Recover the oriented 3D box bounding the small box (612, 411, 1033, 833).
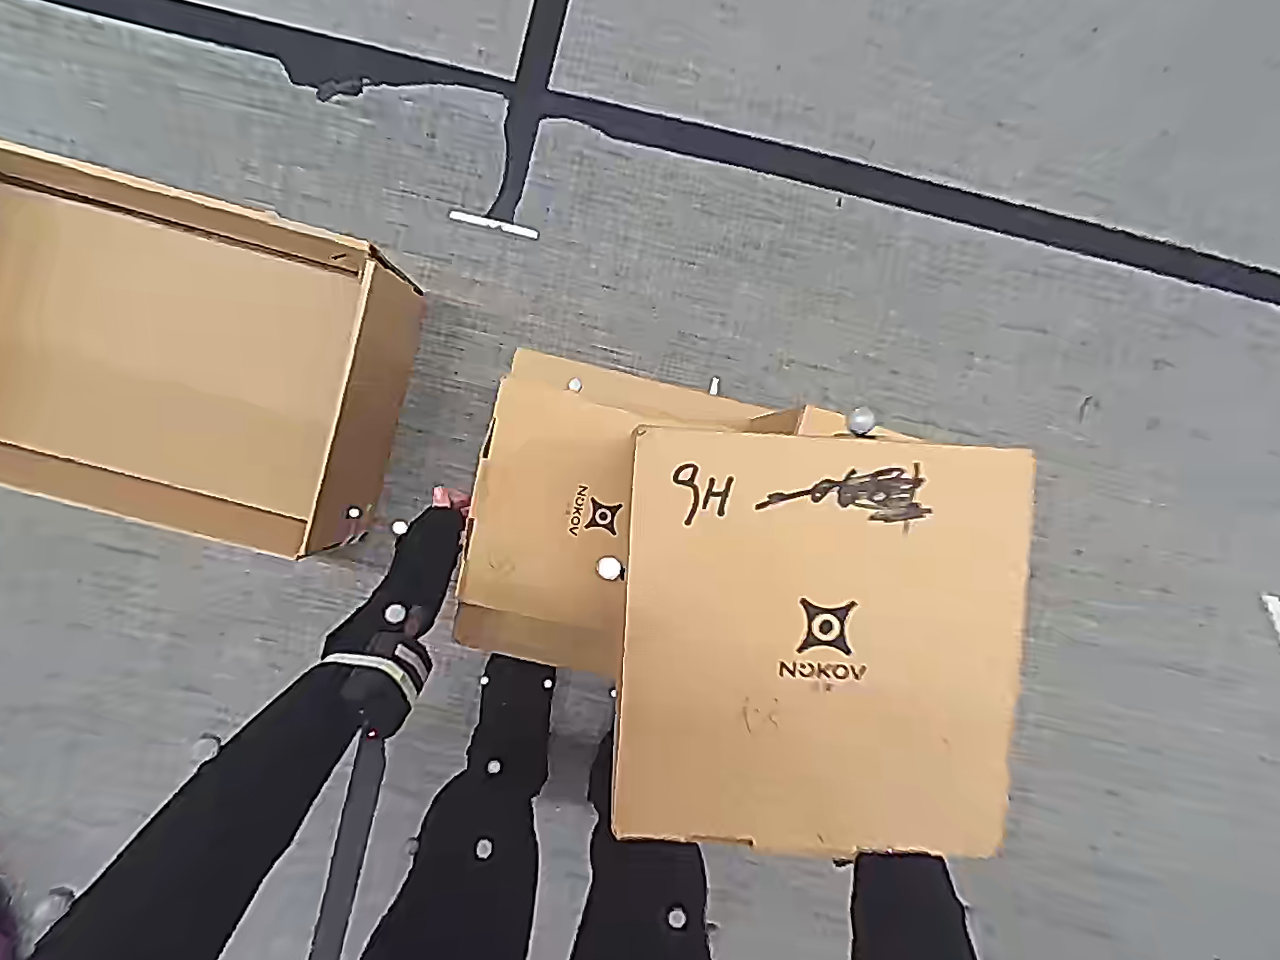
[{"bbox_3d":[0.075,0.057,0.309,0.168,0.176,0.179,4,94,-1],"label":"small box"}]

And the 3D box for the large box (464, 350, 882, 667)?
[{"bbox_3d":[0.031,0.047,0.714,0.408,0.320,0.320,13,93,-3],"label":"large box"}]
